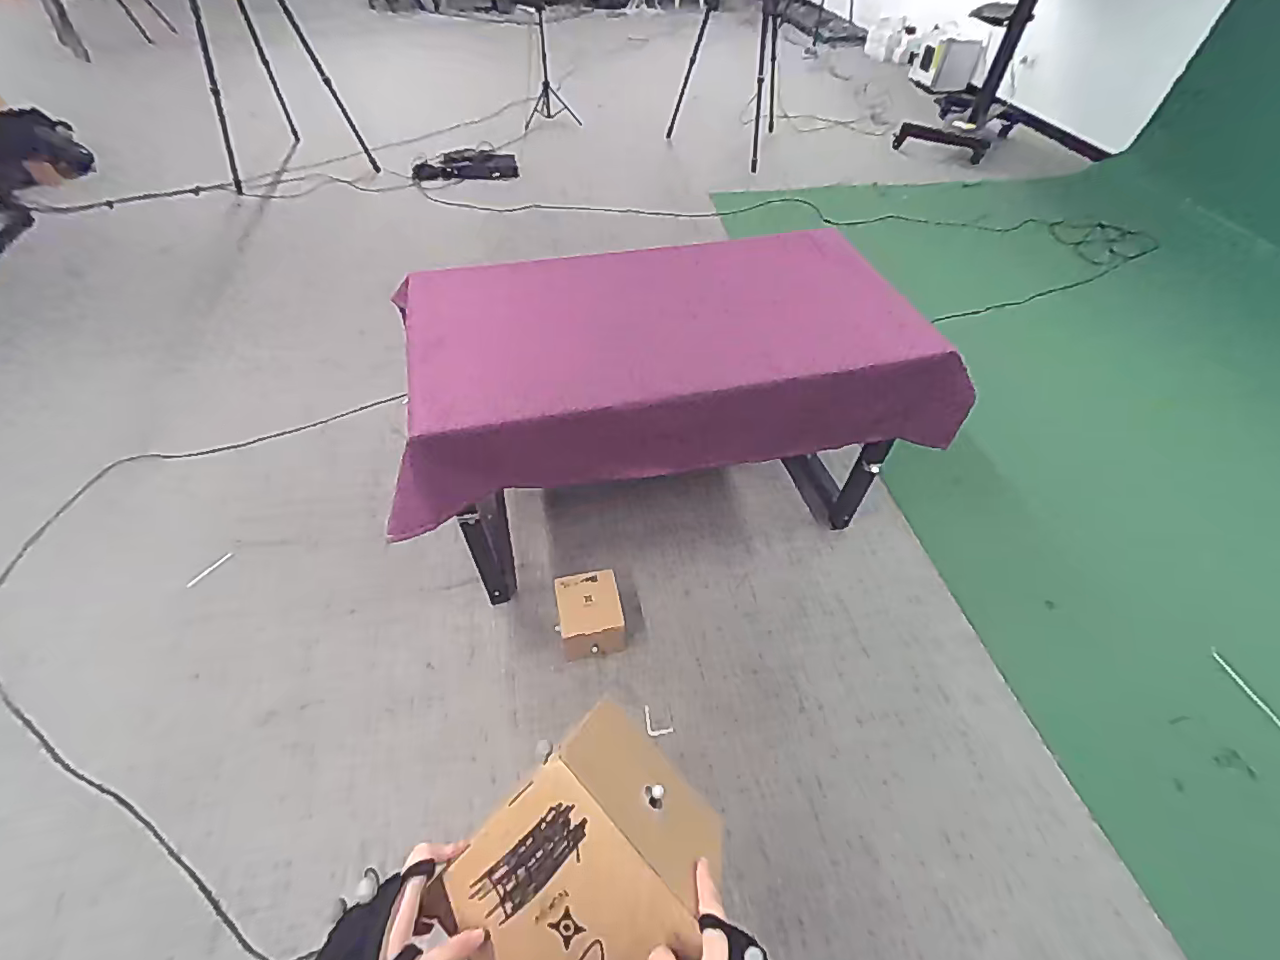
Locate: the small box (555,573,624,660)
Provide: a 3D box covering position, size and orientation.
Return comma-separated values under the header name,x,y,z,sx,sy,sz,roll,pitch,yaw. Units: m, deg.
name,x,y,z,sx,sy,sz,roll,pitch,yaw
small box,-0.139,0.384,1.501,0.168,0.176,0.179,-8,52,-10
